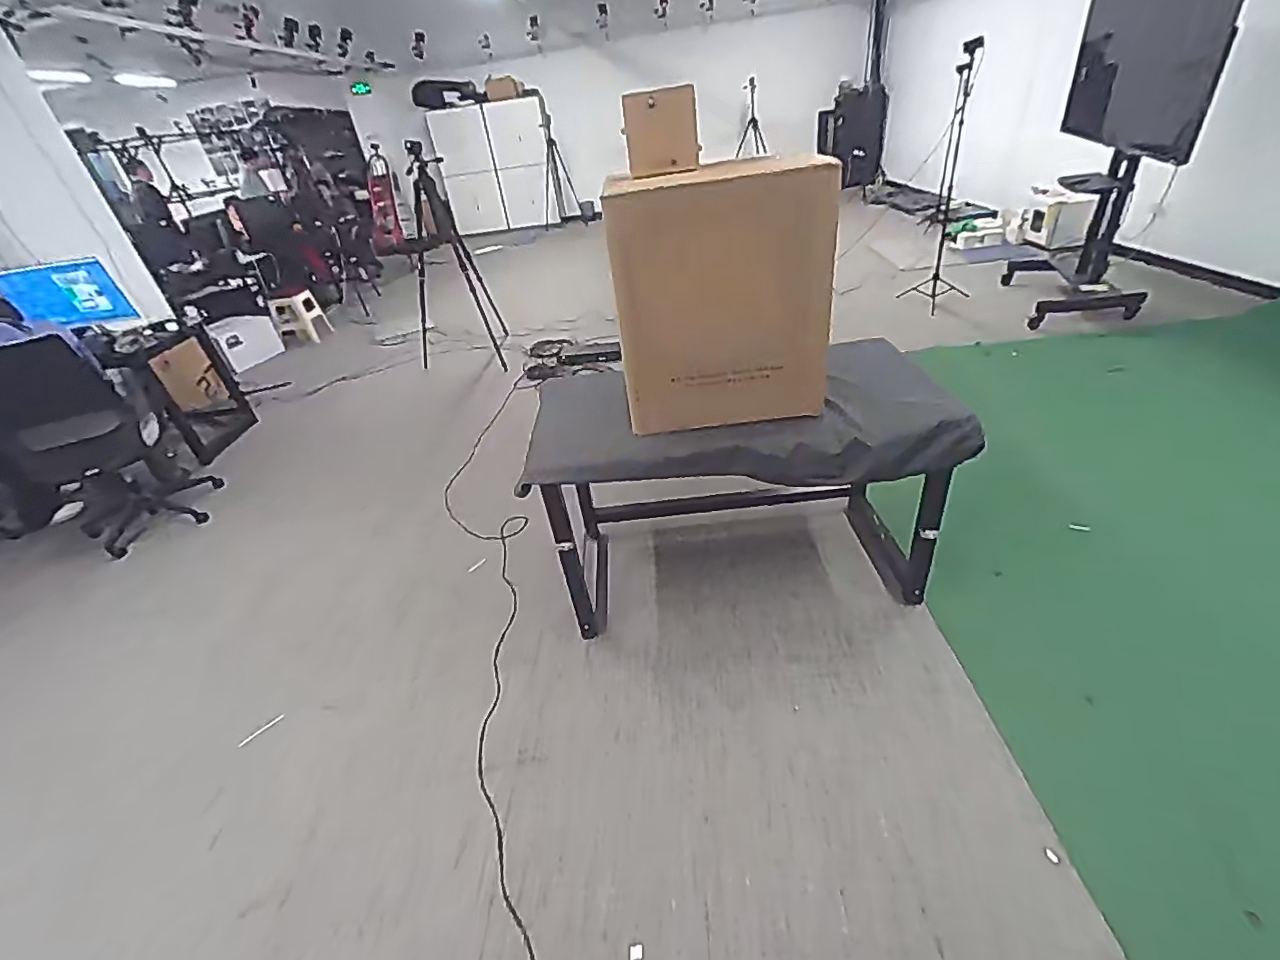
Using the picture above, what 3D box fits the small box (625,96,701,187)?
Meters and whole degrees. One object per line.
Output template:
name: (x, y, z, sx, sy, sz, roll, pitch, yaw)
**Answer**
small box: (0.056, -0.826, 1.328, 0.168, 0.176, 0.179, -7, 32, 4)
